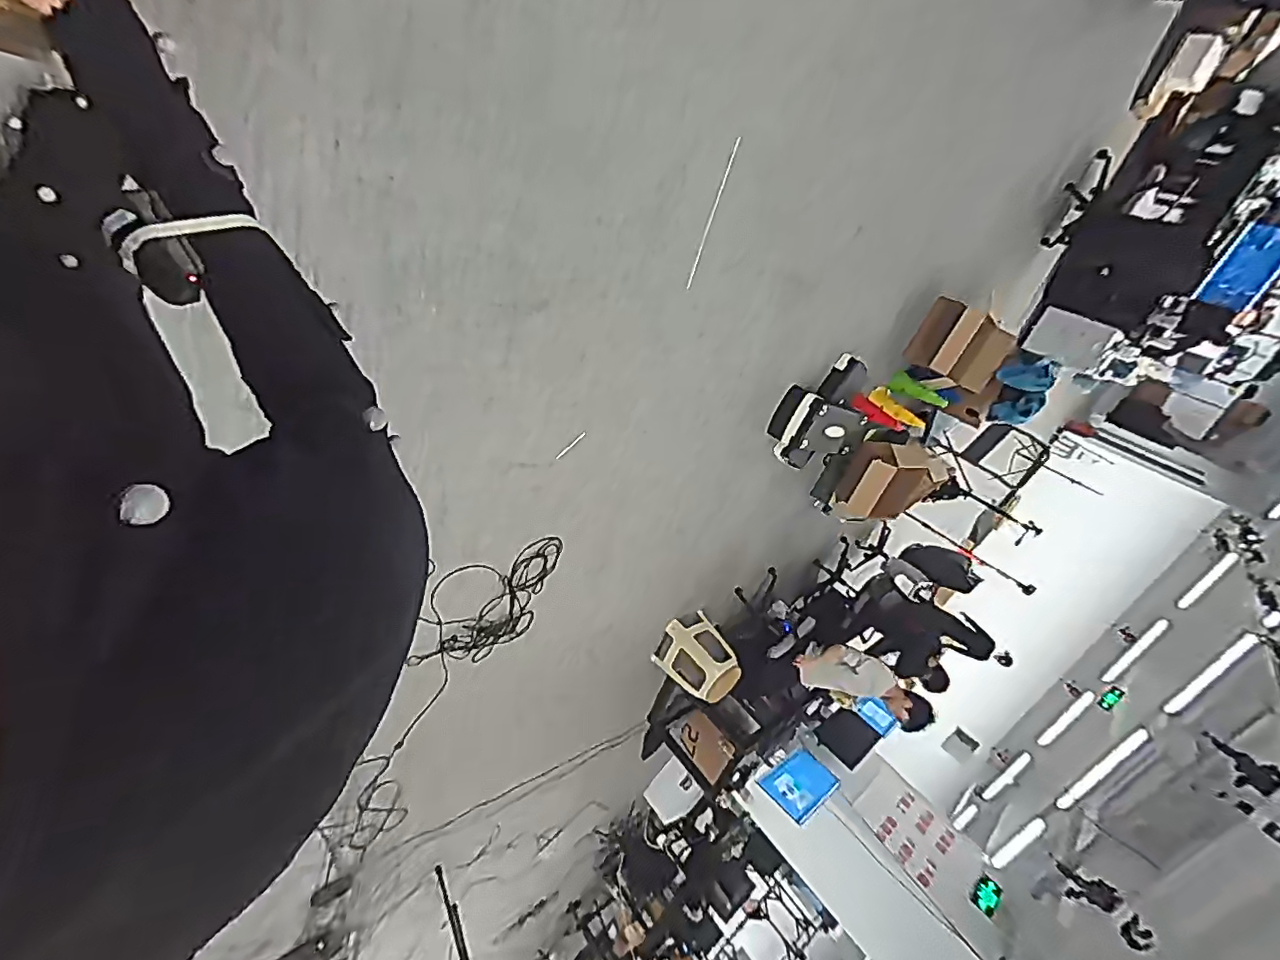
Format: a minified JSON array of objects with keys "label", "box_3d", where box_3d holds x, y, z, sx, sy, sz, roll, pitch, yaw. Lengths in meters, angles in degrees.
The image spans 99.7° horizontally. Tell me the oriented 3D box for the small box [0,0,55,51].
[{"label":"small box","box_3d":[-0.429,-0.359,0.272,0.168,0.176,0.179,-10,114,-44]}]
